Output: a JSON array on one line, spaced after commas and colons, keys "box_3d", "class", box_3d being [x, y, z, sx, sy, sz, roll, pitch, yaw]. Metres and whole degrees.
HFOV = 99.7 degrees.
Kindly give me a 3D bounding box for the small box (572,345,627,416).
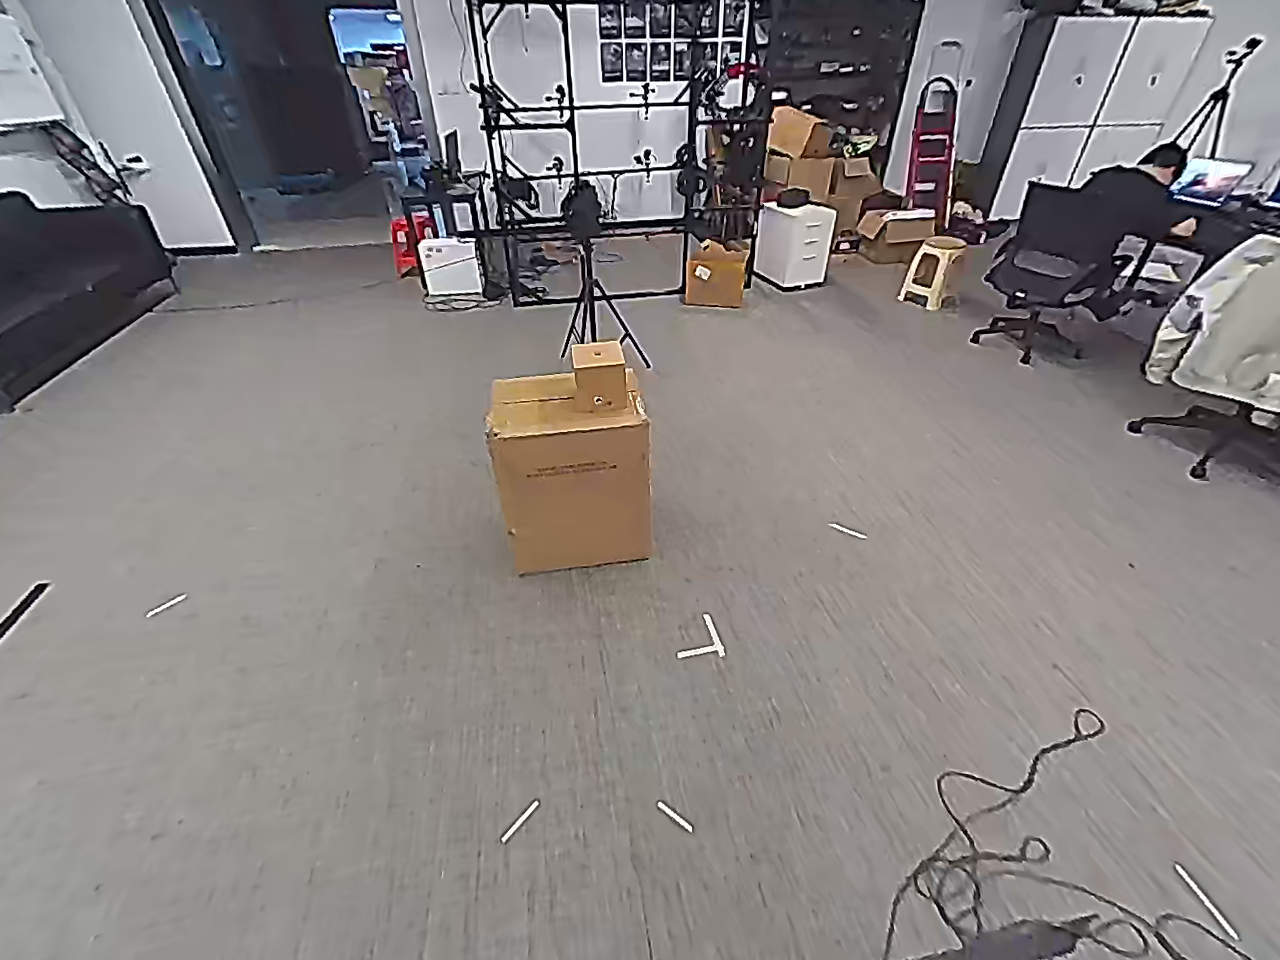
[{"box_3d": [-0.139, -0.337, 1.829, 0.168, 0.176, 0.179, -8, 40, -6], "class": "small box"}]
